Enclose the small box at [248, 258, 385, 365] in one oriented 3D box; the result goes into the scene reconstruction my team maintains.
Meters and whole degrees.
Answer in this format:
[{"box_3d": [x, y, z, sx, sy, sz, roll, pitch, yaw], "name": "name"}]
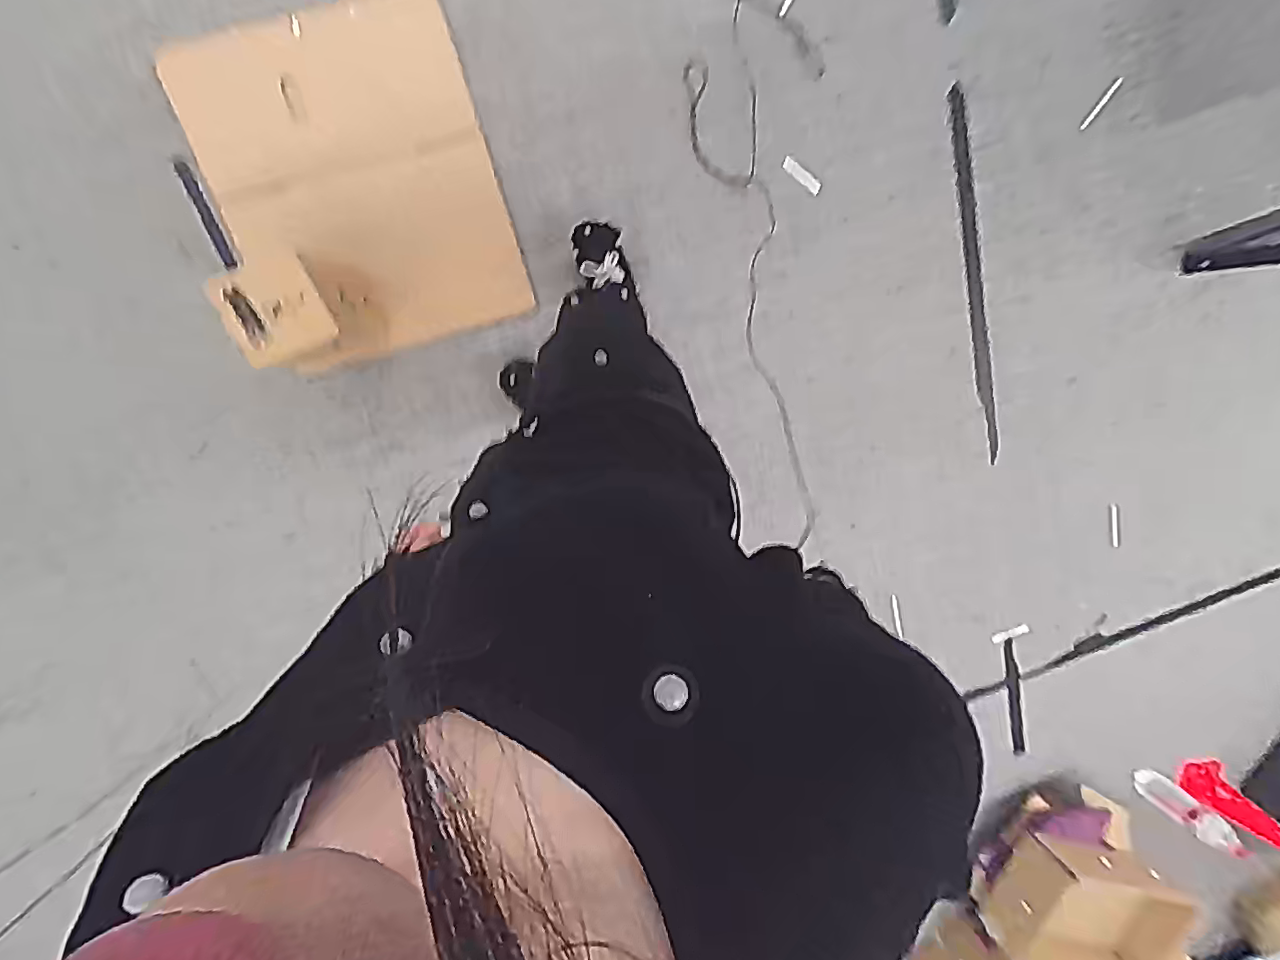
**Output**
[{"box_3d": [-0.710, -0.371, 1.212, 0.179, 0.176, 0.168, -27, 108, -2], "name": "small box"}]
